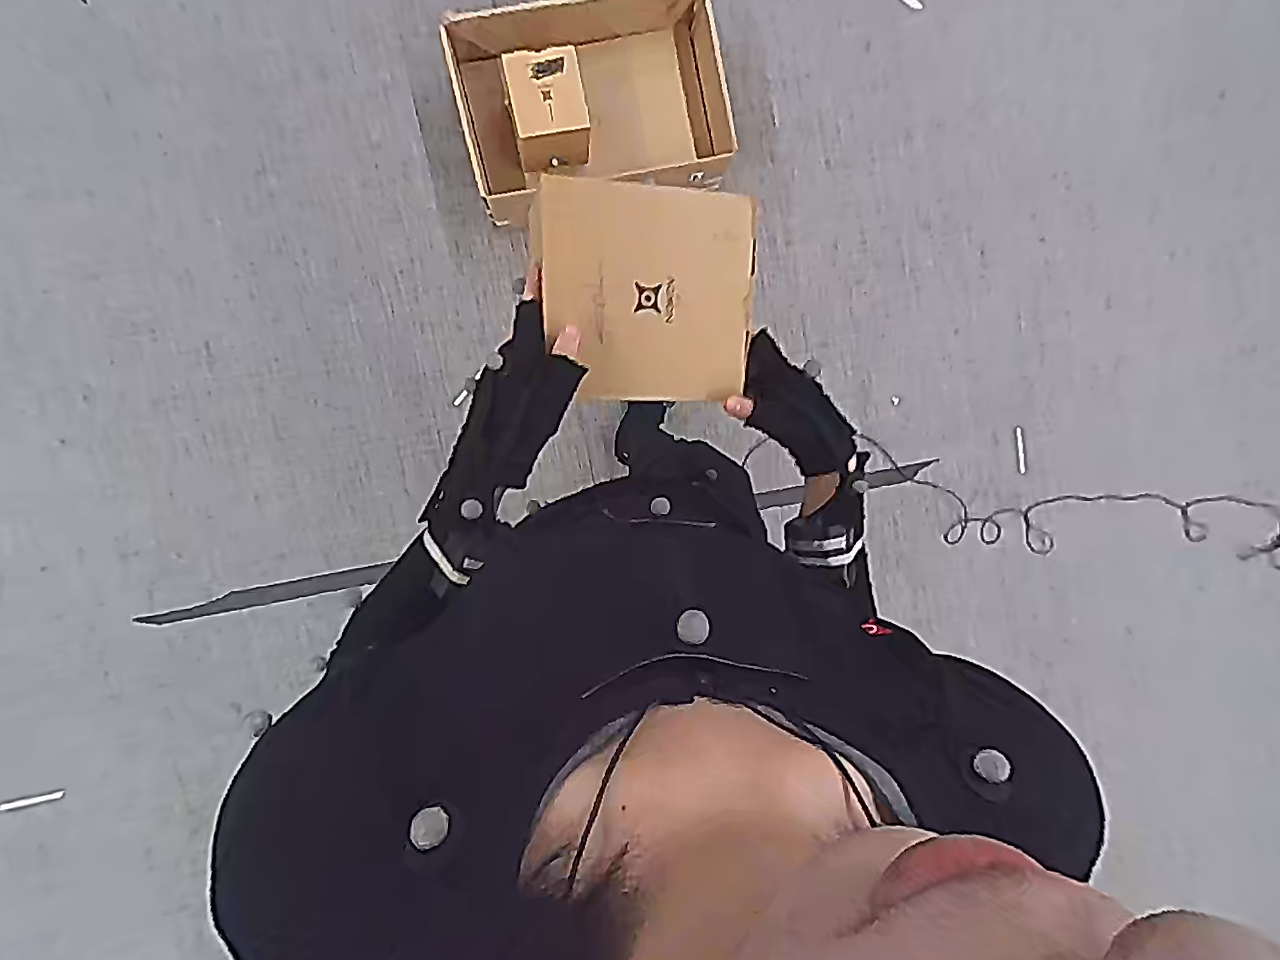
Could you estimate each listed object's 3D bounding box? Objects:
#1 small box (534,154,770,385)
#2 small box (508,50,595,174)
[{"bbox_3d":[-0.001,-0.178,0.500,0.179,0.176,0.168,-3,105,-13],"label":"small box"},{"bbox_3d":[-0.208,-0.864,1.281,0.168,0.176,0.179,-13,97,-6],"label":"small box"}]
